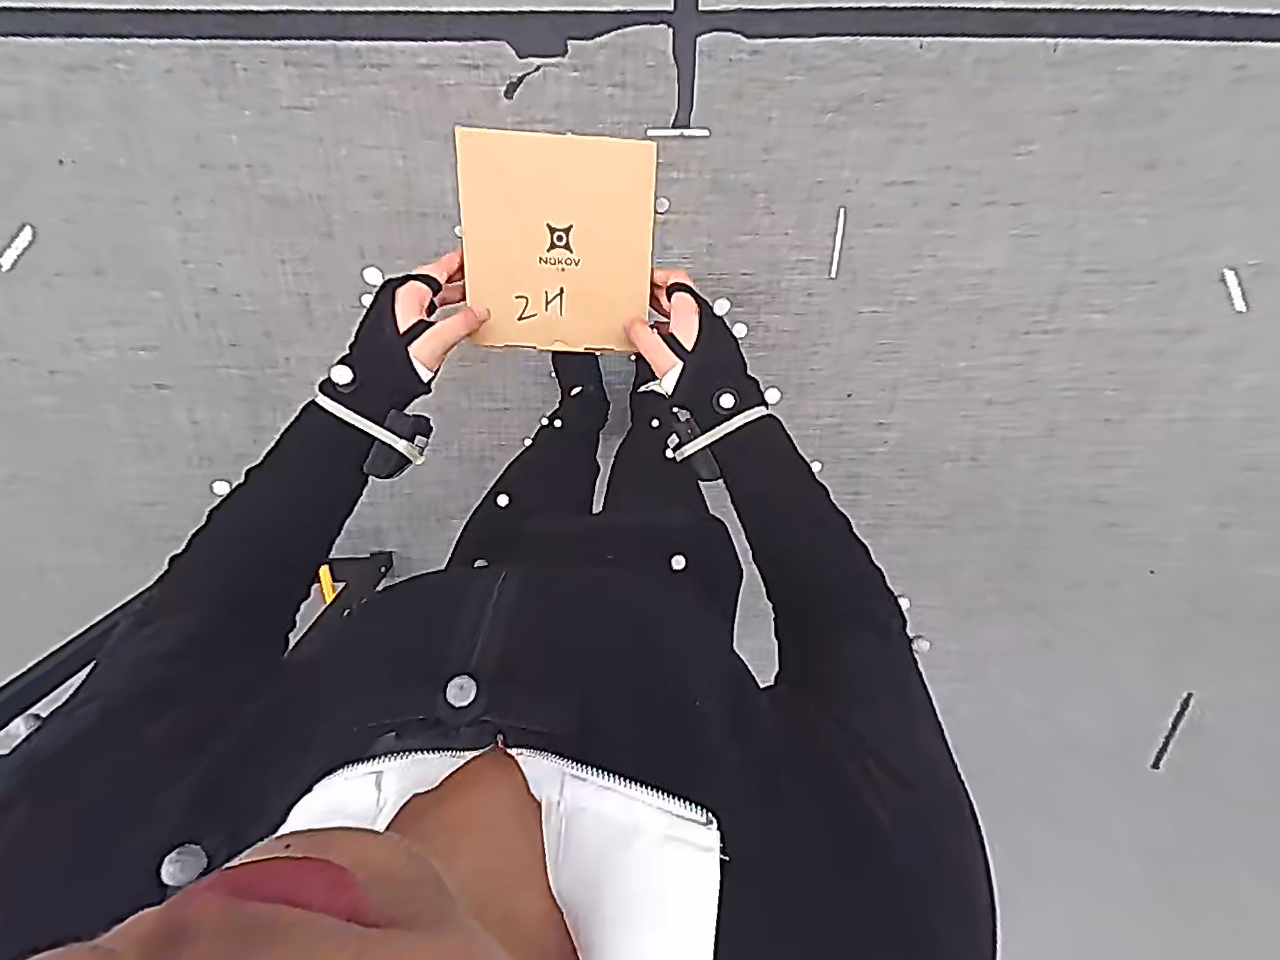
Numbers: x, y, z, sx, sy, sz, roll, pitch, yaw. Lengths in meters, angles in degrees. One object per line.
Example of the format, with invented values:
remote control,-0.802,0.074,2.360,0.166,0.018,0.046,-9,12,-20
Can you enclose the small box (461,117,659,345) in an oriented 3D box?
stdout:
small box,-0.077,-0.241,0.548,0.168,0.176,0.179,1,113,-5
